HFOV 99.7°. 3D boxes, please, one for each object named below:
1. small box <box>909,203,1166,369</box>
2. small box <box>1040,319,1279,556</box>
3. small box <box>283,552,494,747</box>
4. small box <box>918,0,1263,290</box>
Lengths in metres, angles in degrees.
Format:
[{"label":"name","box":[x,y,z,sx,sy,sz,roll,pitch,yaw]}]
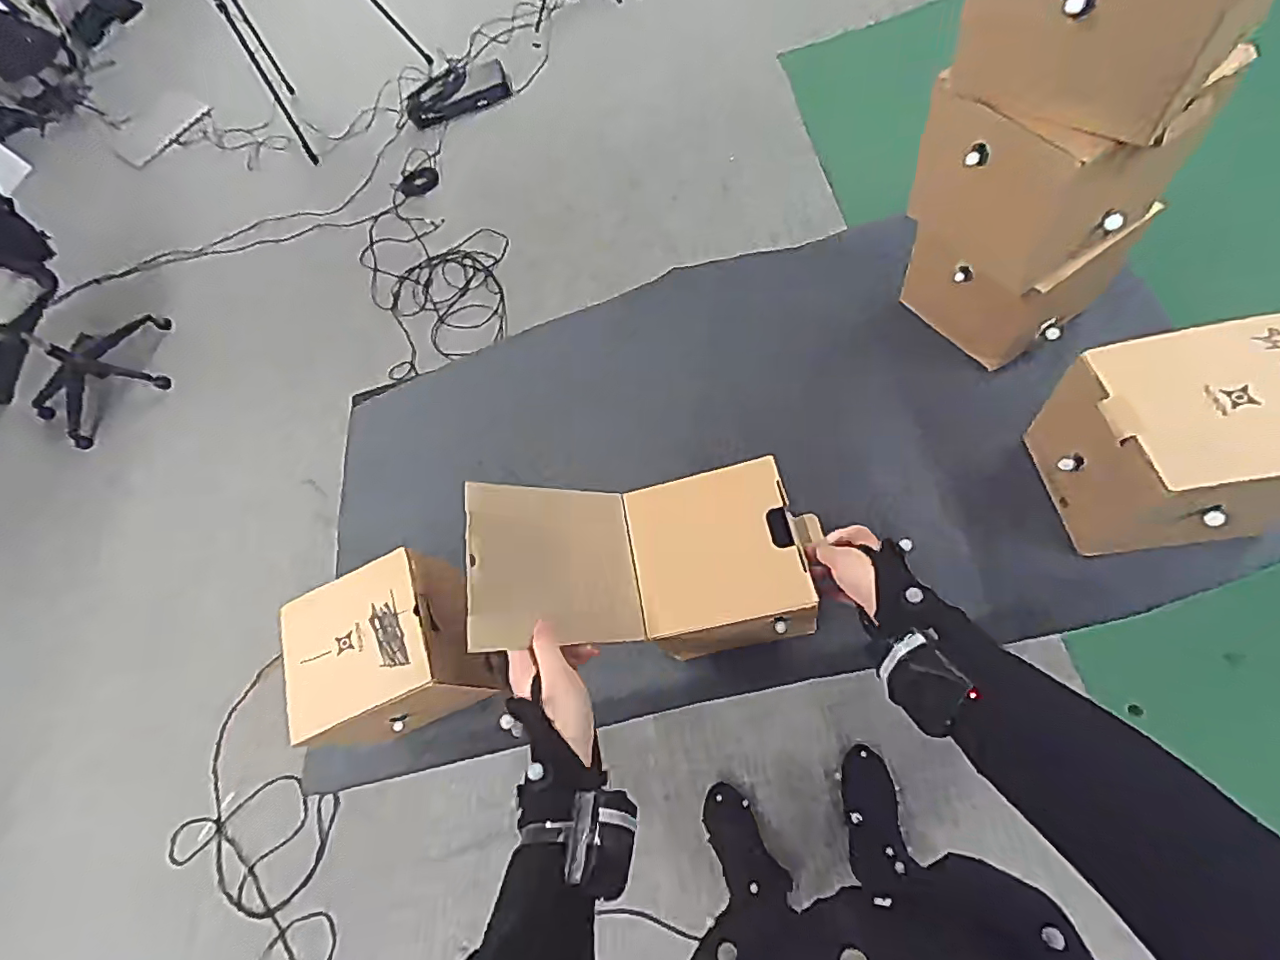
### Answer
[{"label":"small box","box":[0.478,-0.277,0.690,0.168,0.176,0.179,-36,65,1]},{"label":"small box","box":[0.552,-0.031,0.556,0.179,0.176,0.168,-10,61,12]},{"label":"small box","box":[-0.302,0.214,0.679,0.179,0.176,0.168,-25,64,3]},{"label":"small box","box":[0.415,-0.332,0.546,0.168,0.176,0.179,-32,63,3]}]
